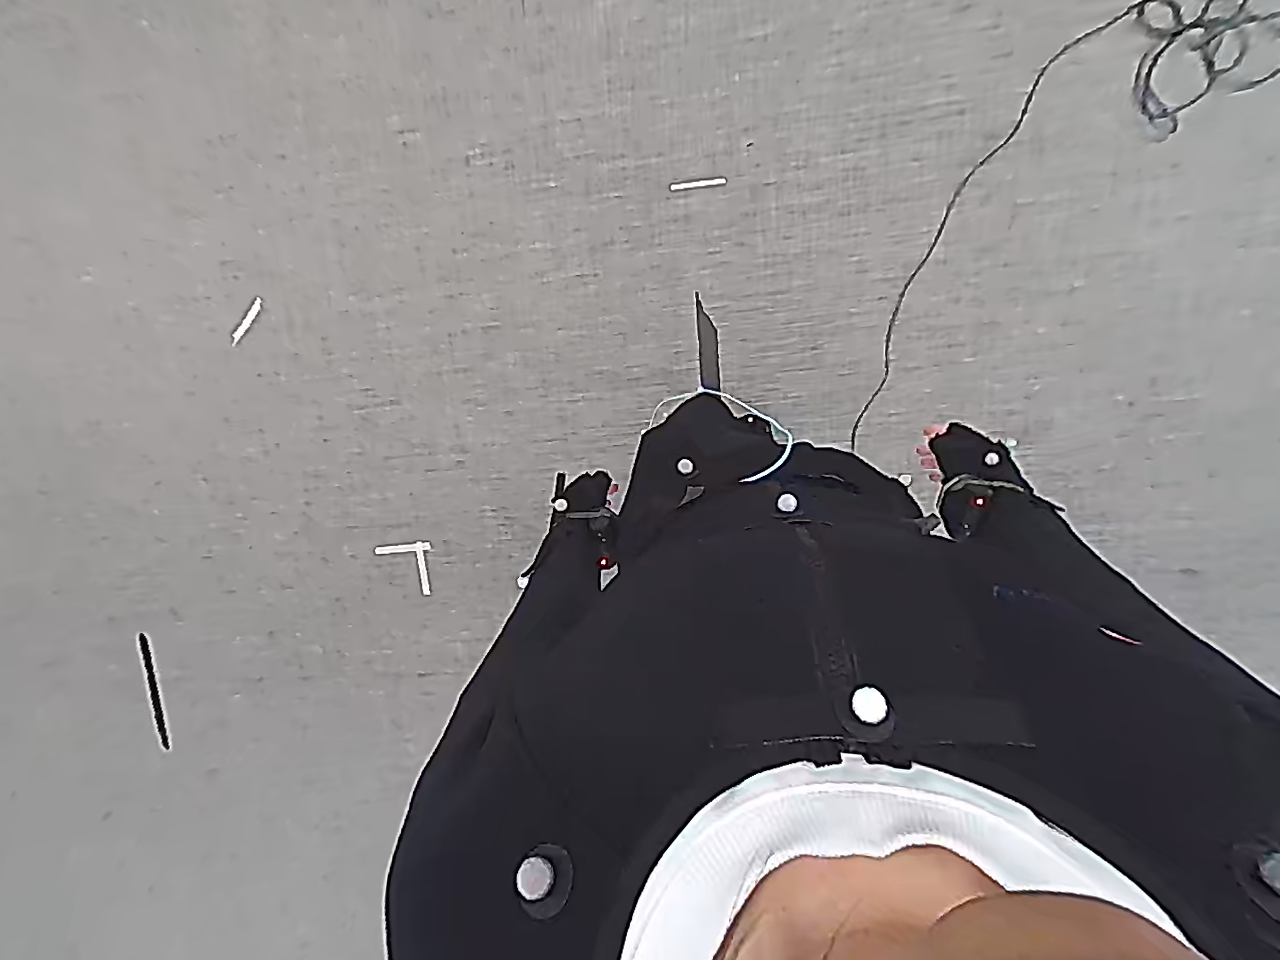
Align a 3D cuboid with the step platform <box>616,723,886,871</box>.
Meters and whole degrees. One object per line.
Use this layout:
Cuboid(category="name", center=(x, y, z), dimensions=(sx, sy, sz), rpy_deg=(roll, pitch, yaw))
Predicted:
Cuboid(category="step platform", center=(0.278, 0.835, 1.430), dimensions=(0.684, 0.204, 0.286), rpy_deg=(-5, 95, 9))
